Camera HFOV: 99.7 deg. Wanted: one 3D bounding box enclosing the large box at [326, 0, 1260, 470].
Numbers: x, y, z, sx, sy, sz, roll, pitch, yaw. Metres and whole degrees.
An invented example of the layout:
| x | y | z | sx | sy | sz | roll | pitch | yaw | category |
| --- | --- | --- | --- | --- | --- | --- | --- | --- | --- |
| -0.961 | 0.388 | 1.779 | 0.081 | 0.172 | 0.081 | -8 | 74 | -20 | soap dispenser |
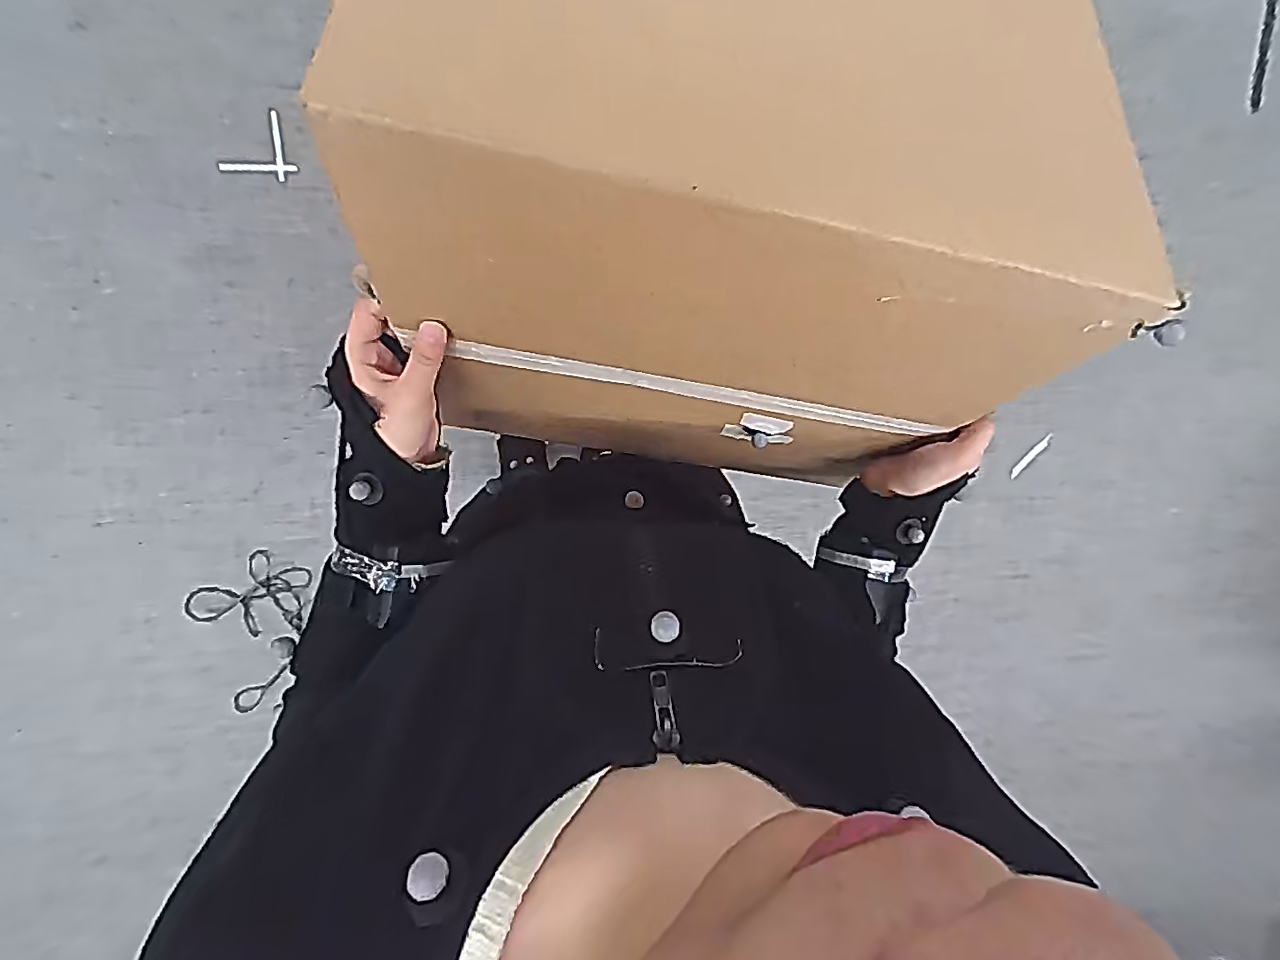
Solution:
| x | y | z | sx | sy | sz | roll | pitch | yaw | category |
| --- | --- | --- | --- | --- | --- | --- | --- | --- | --- |
| 0.067 | -0.223 | 0.400 | 0.408 | 0.320 | 0.320 | 8 | 72 | -9 | large box |
